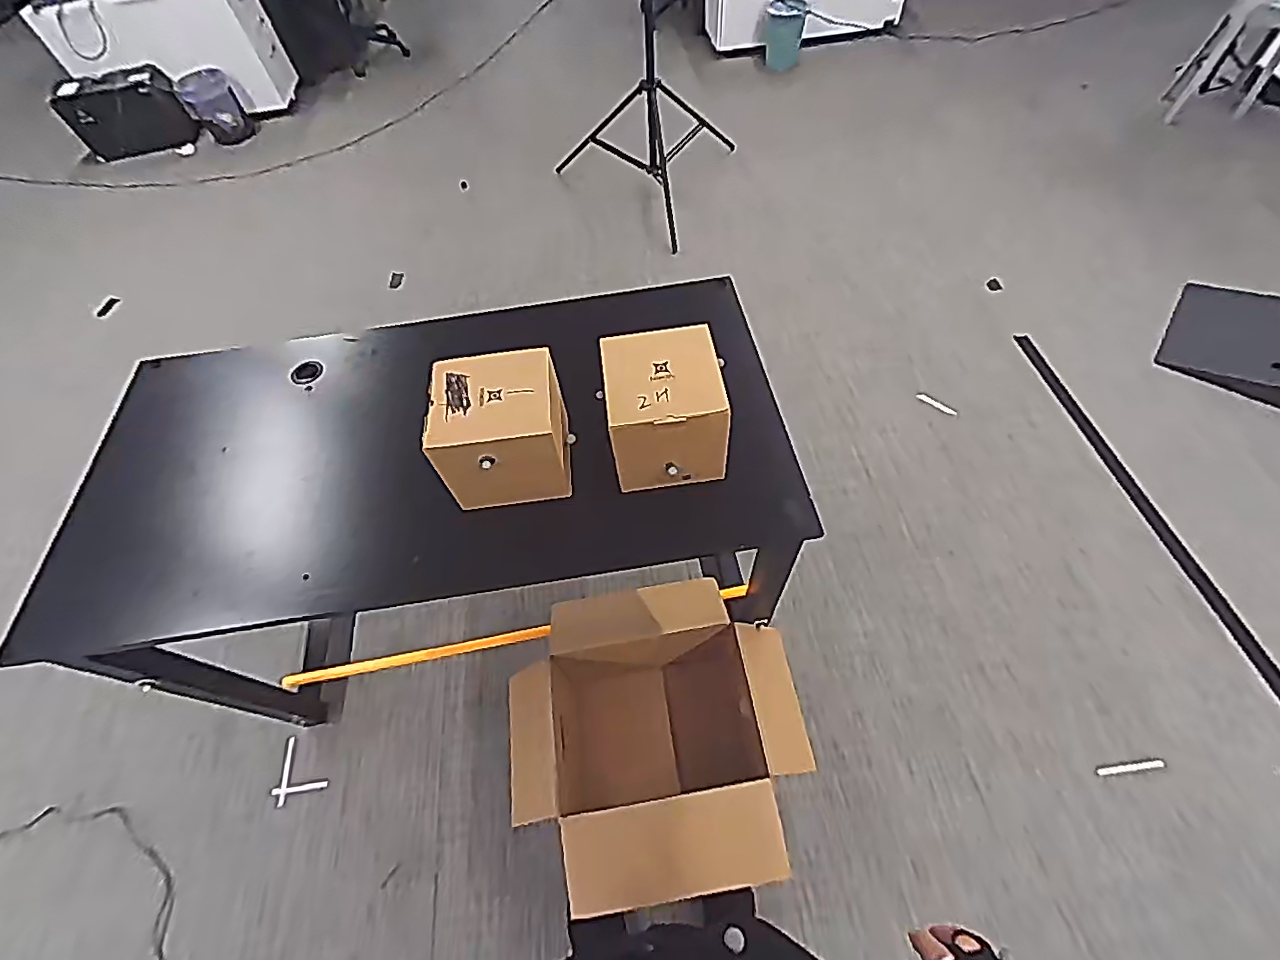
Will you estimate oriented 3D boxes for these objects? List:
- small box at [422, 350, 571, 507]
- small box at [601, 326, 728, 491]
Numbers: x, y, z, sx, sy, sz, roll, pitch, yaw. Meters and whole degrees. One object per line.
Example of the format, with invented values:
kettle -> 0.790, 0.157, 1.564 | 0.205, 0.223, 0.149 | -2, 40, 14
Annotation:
small box -> -0.208, -0.072, 0.829 | 0.179, 0.176, 0.168 | -7, 57, -1
small box -> 0.035, -0.106, 0.830 | 0.168, 0.176, 0.179 | -8, 57, 1
